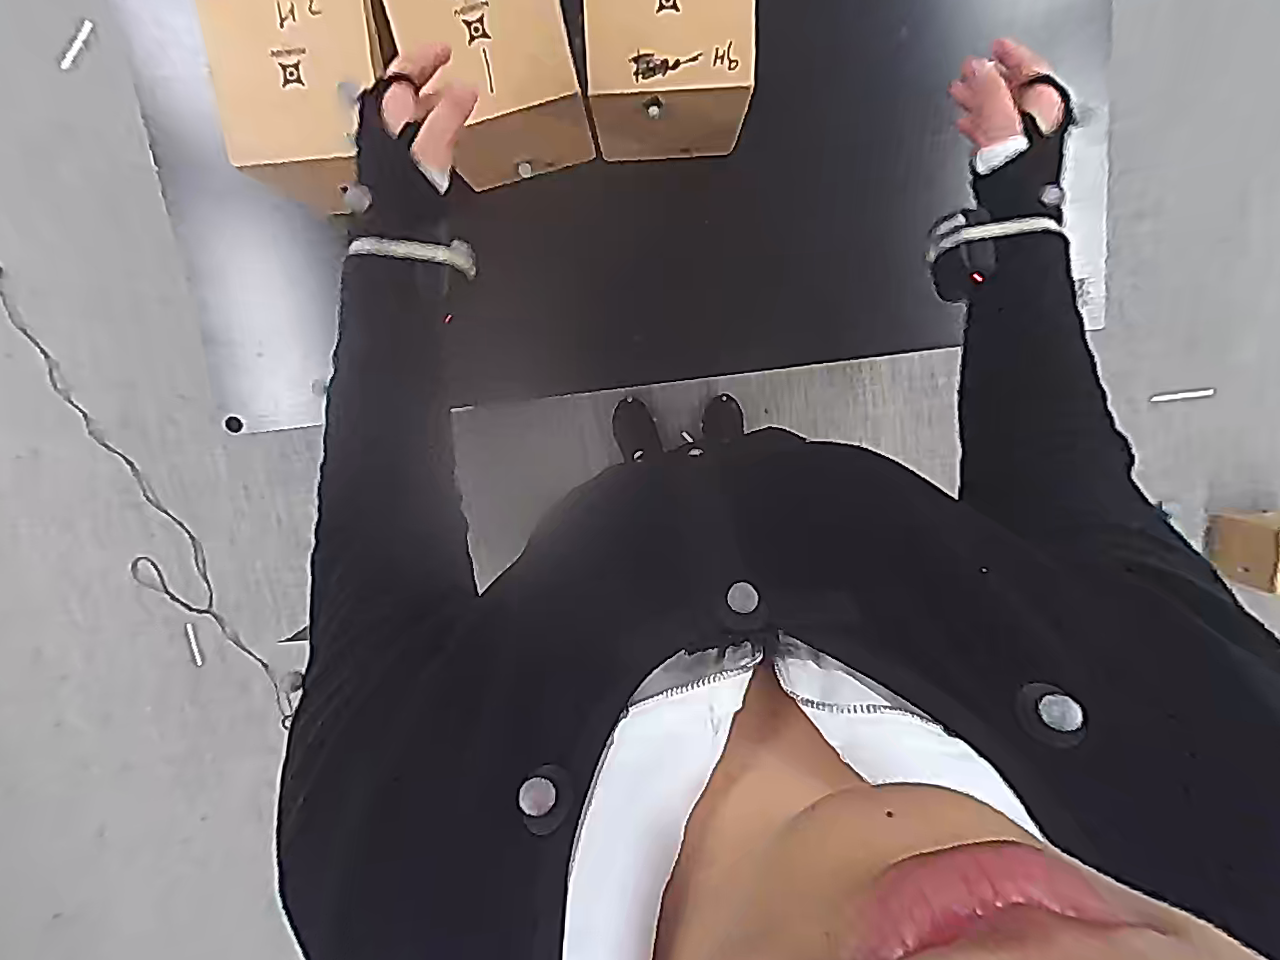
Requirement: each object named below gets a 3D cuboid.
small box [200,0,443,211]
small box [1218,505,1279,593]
[{"bbox_3d":[-0.341,-0.423,0.617,0.168,0.176,0.179,-4,100,2],"label":"small box"},{"bbox_3d":[1.655,0.174,1.391,0.168,0.176,0.179,-8,100,3],"label":"small box"}]
